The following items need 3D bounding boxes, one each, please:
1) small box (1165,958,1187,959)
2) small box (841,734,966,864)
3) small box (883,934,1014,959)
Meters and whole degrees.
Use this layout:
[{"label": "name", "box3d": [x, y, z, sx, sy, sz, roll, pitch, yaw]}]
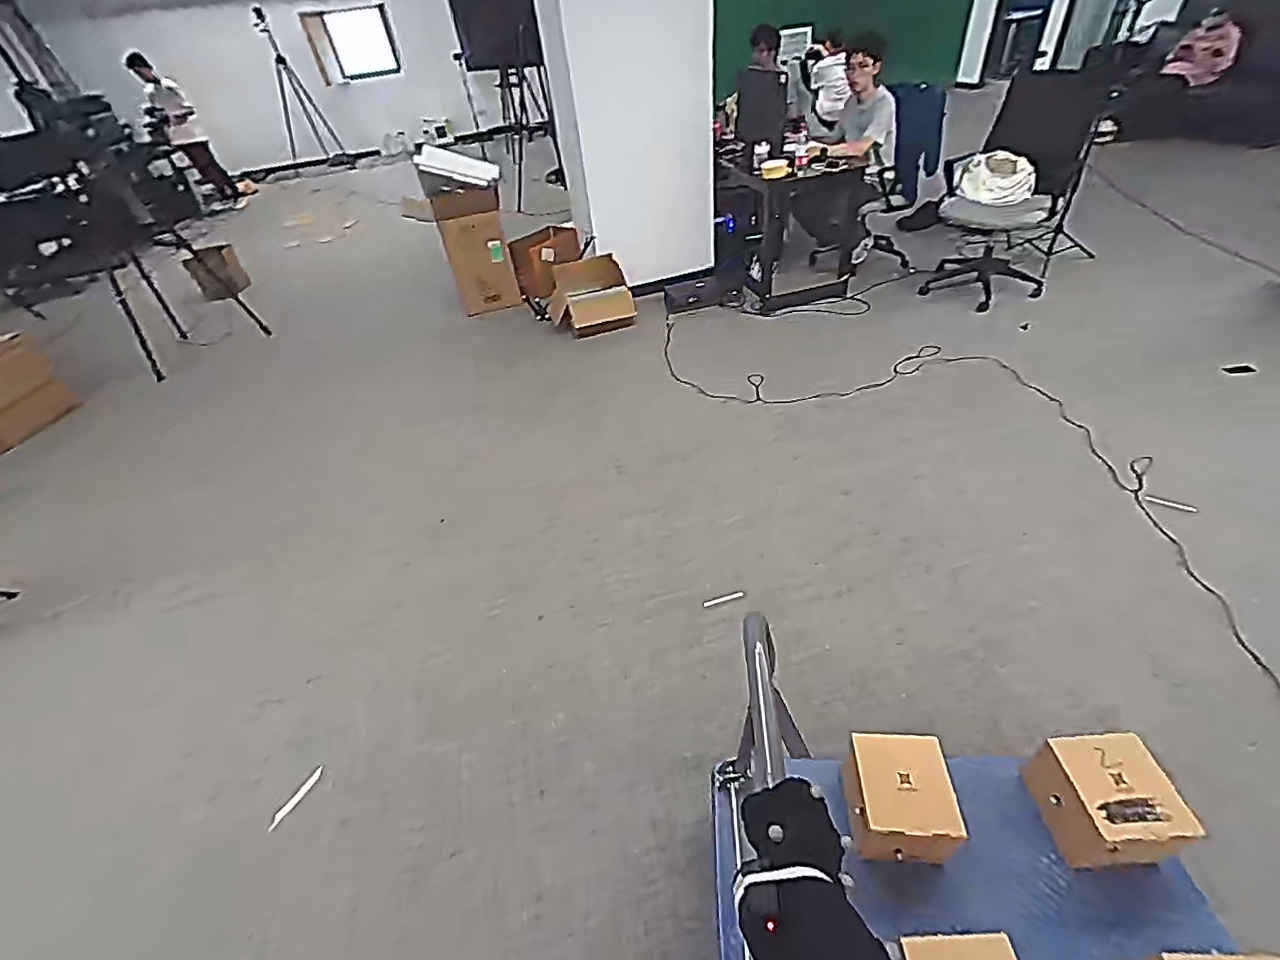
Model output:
[{"label": "small box", "box3d": [0.869, 0.826, 0.792, 0.179, 0.176, 0.168, -3, 41, 7]}, {"label": "small box", "box3d": [0.508, 0.631, 1.073, 0.168, 0.176, 0.179, 0, 43, 8]}, {"label": "small box", "box3d": [0.498, 0.836, 0.840, 0.168, 0.176, 0.179, -4, 42, 4]}]
